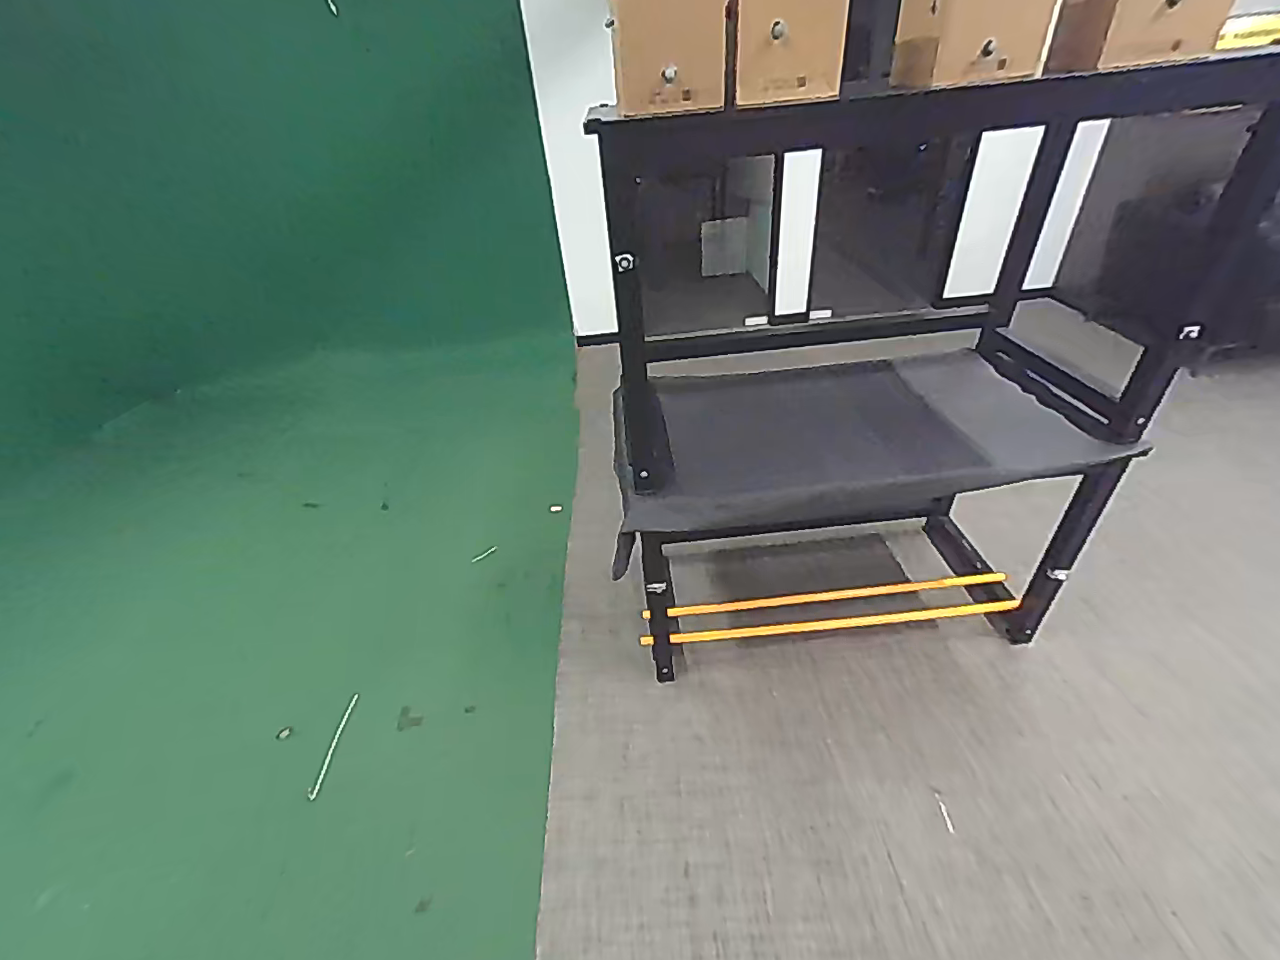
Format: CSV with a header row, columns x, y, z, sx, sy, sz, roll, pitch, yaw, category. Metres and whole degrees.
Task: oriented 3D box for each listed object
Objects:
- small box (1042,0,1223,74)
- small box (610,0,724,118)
x,y,z,sx,sy,sz,roll,pitch,yaw,category
0.800,-0.770,0.872,0.168,0.176,0.179,0,36,7,small box
0.040,-0.709,0.899,0.168,0.176,0.179,-6,37,-1,small box
